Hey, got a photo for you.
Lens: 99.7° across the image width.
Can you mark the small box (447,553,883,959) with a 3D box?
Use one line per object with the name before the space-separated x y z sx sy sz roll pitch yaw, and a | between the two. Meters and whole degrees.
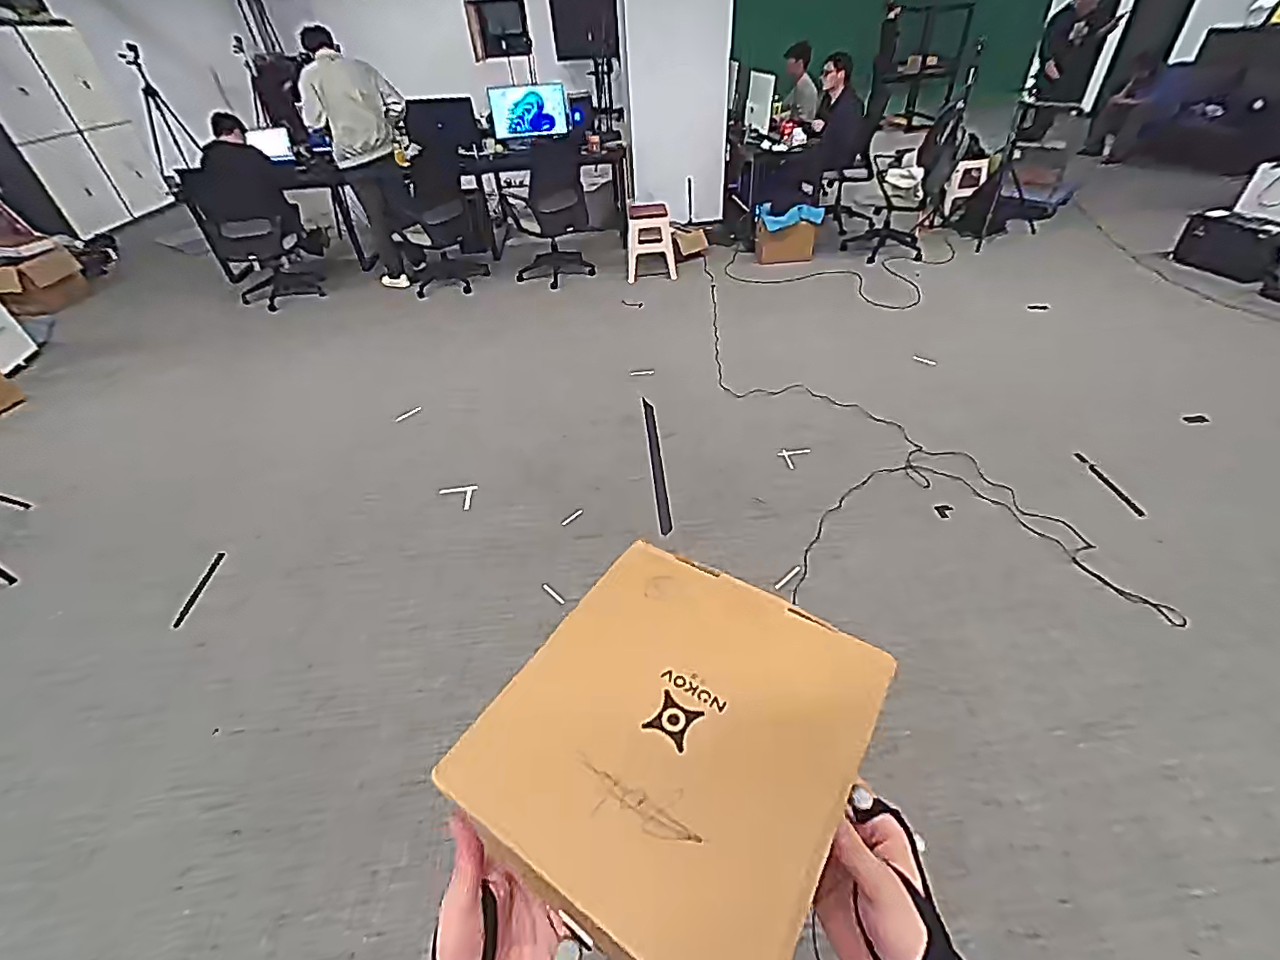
small box | 0.023 0.184 0.328 0.168 0.176 0.179 21 49 27
